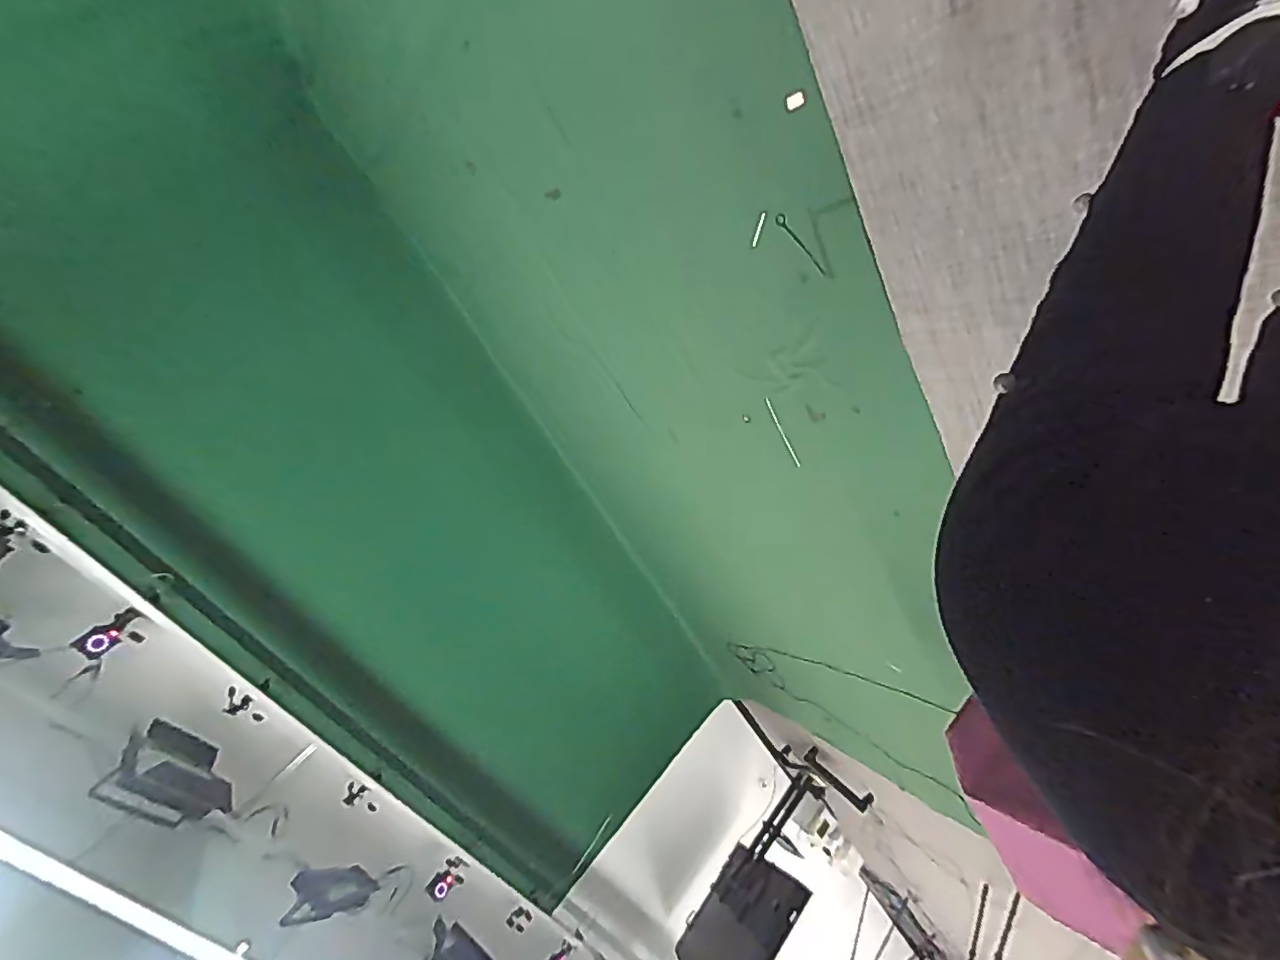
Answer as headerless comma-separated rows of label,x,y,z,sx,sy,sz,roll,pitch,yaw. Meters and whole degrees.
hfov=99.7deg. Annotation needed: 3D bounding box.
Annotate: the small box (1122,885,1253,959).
small box,1.227,1.067,1.205,0.168,0.176,0.179,56,157,-22
